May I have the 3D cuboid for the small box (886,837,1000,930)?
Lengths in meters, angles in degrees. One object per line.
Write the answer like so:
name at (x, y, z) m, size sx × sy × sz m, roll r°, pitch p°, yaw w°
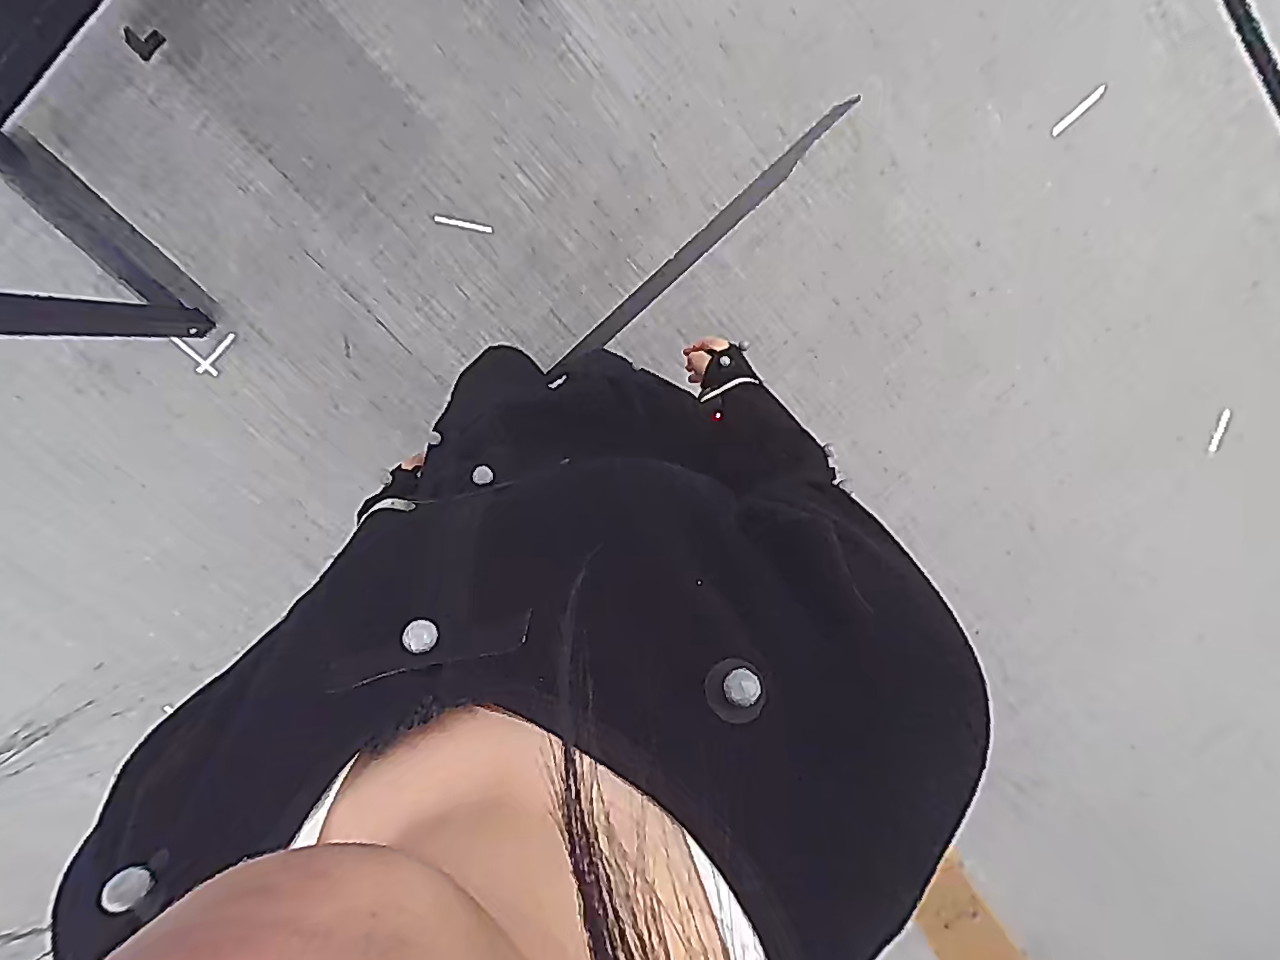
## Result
small box at (0.791, 1.088, 1.423) m, size 0.168 × 0.176 × 0.179 m, roll -40°, pitch 103°, yaw 6°

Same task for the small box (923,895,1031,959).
small box at (0.808, 1.127, 1.264) m, size 0.168 × 0.176 × 0.179 m, roll -41°, pitch 104°, yaw 5°
